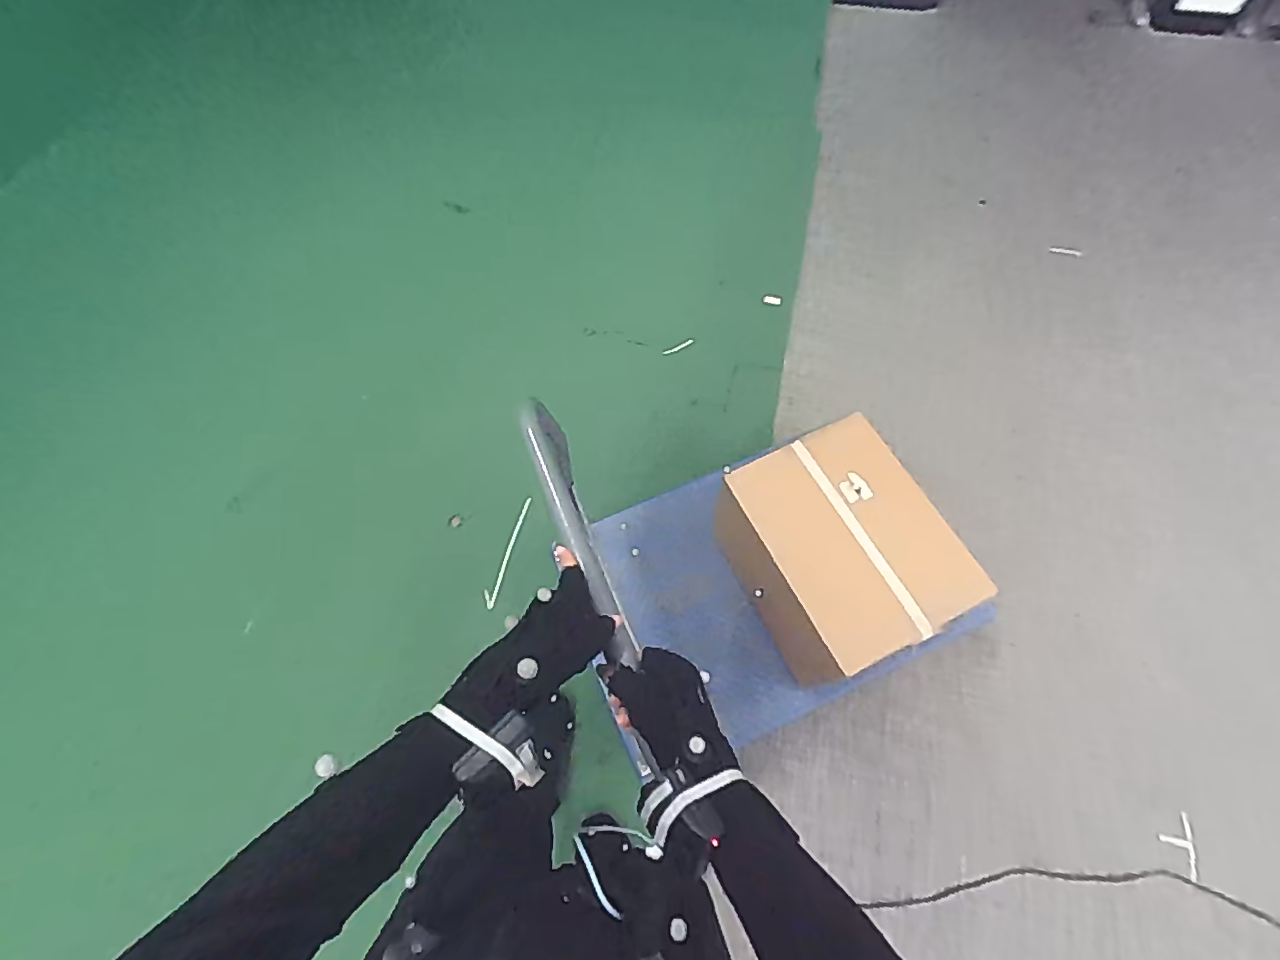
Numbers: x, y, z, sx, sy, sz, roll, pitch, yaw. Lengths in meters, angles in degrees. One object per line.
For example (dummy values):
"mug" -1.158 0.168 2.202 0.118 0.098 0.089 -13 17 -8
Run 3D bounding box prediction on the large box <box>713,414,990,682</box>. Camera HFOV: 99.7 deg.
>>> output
"large box" 0.389 0.149 1.116 0.320 0.320 0.408 -24 66 -10
